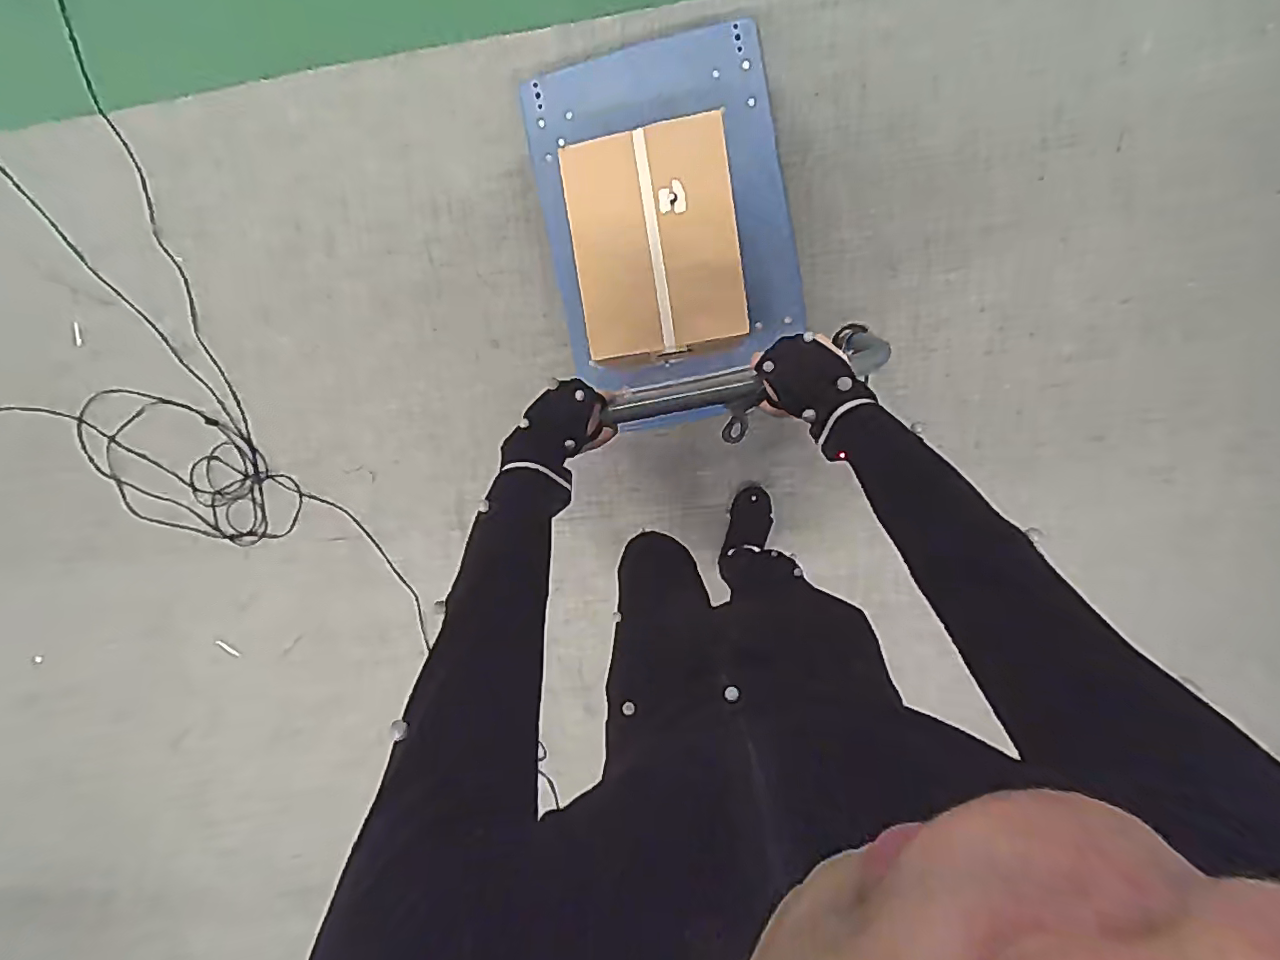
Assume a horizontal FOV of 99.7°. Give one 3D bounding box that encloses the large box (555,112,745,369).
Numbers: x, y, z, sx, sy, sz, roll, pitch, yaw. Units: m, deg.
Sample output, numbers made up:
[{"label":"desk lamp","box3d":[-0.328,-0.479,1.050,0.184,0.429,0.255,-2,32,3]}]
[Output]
[{"label":"large box","box3d":[0.037,-0.477,1.174,0.320,0.320,0.408,-8,96,7]}]
